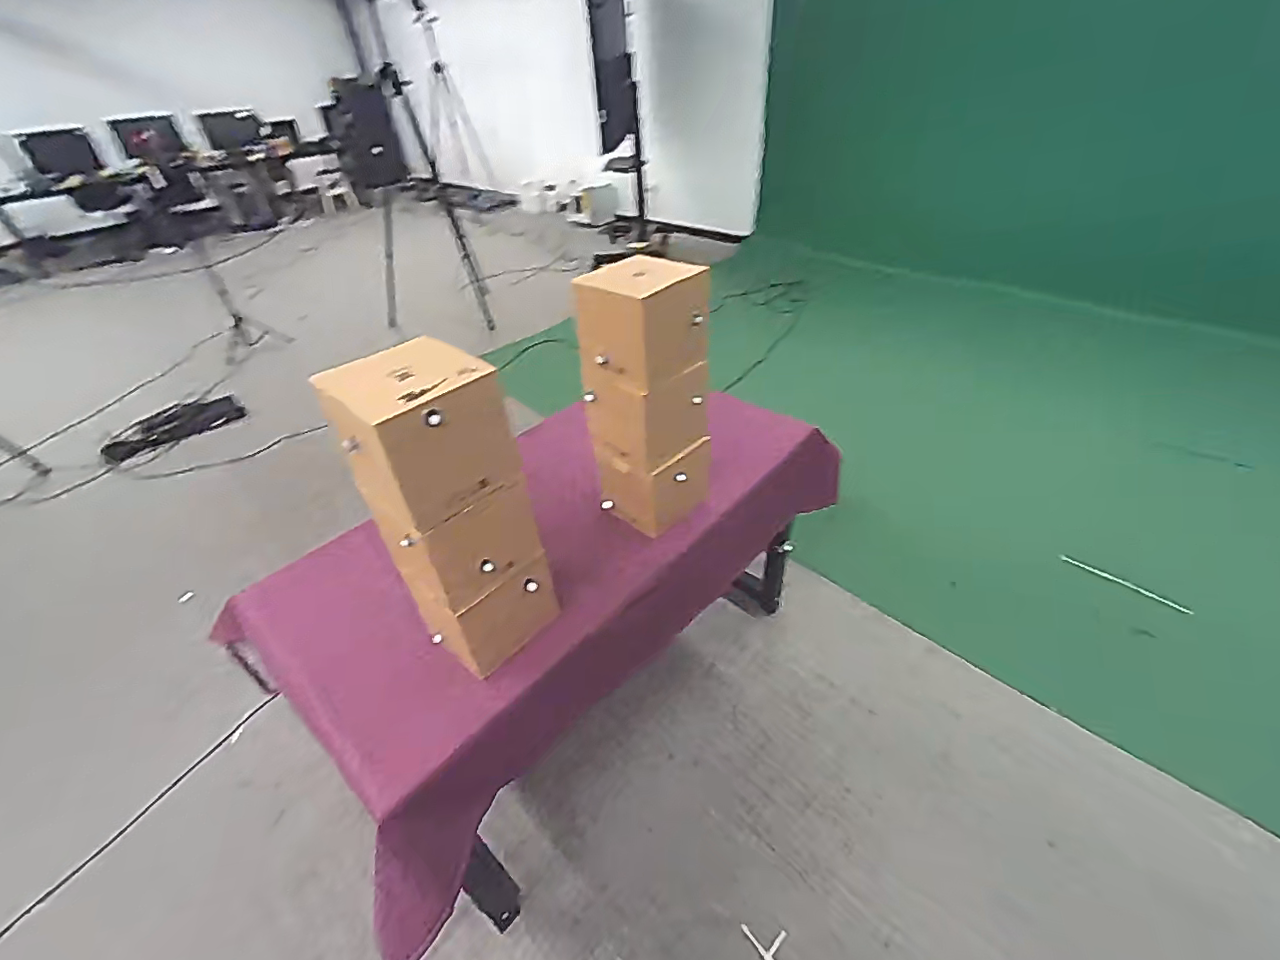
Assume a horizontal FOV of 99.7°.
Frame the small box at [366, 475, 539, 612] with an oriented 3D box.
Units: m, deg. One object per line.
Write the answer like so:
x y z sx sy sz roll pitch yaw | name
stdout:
-0.279 0.067 0.828 0.179 0.176 0.168 28 48 33 | small box

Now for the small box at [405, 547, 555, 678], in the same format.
-0.263 0.195 0.927 0.168 0.176 0.179 27 48 34 | small box

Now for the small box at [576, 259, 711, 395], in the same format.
0.009 -0.276 0.966 0.168 0.176 0.179 27 48 34 | small box

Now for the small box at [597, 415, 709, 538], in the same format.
0.033 -0.008 1.153 0.168 0.176 0.179 29 49 35 | small box

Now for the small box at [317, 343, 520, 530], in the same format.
-0.288 -0.061 0.725 0.179 0.176 0.168 27 48 34 | small box
